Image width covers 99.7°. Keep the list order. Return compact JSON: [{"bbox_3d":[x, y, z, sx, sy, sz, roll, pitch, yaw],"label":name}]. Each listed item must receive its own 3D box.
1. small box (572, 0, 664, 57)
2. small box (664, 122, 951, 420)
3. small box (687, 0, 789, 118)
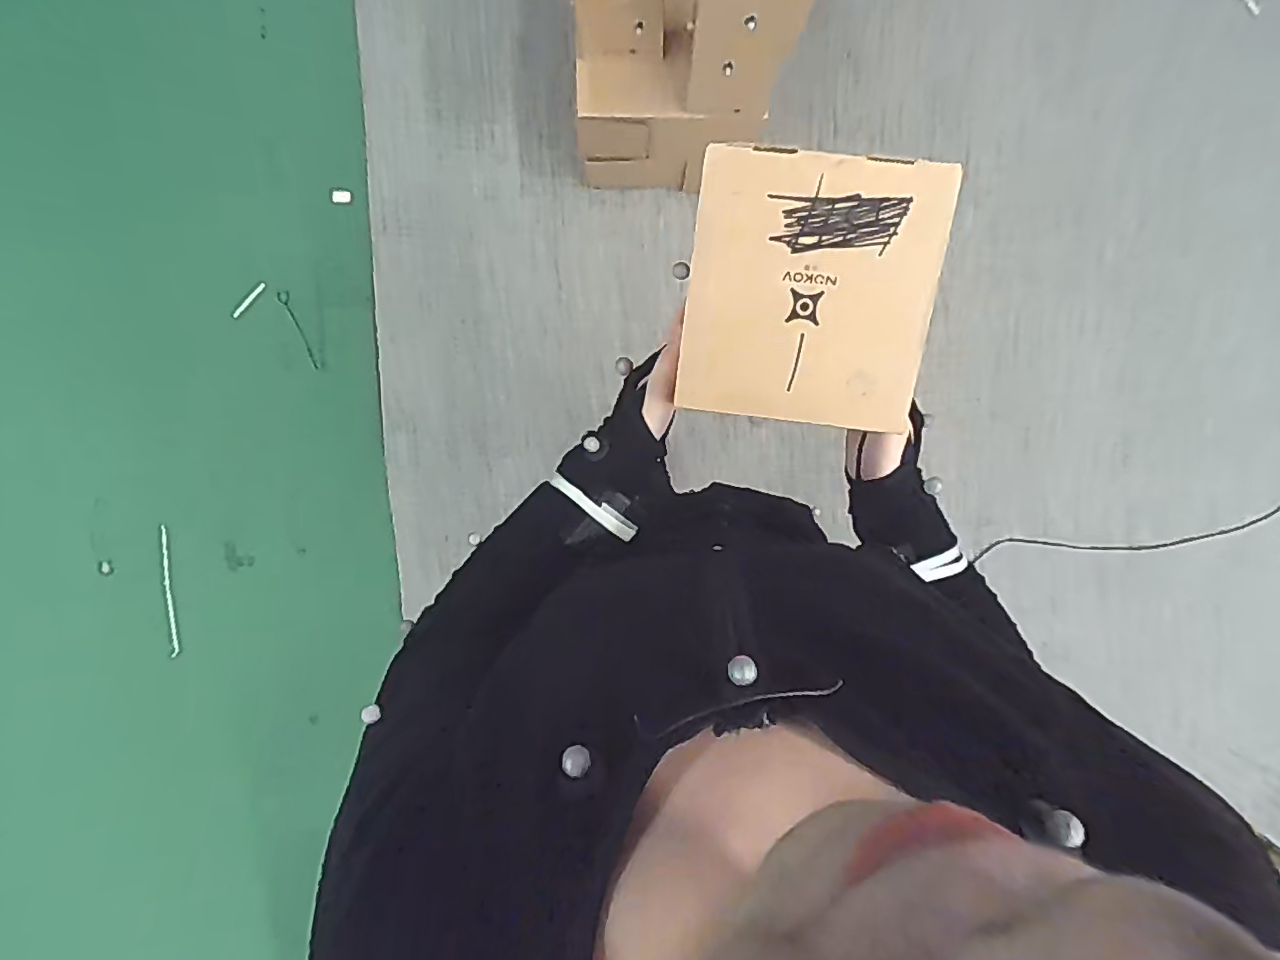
[{"bbox_3d":[-0.036,-0.949,1.029,0.168,0.176,0.179,1,92,1],"label":"small box"},{"bbox_3d":[0.114,-0.154,0.441,0.168,0.176,0.179,8,104,4],"label":"small box"},{"bbox_3d":[0.180,-0.836,1.030,0.168,0.176,0.179,3,92,0],"label":"small box"}]
